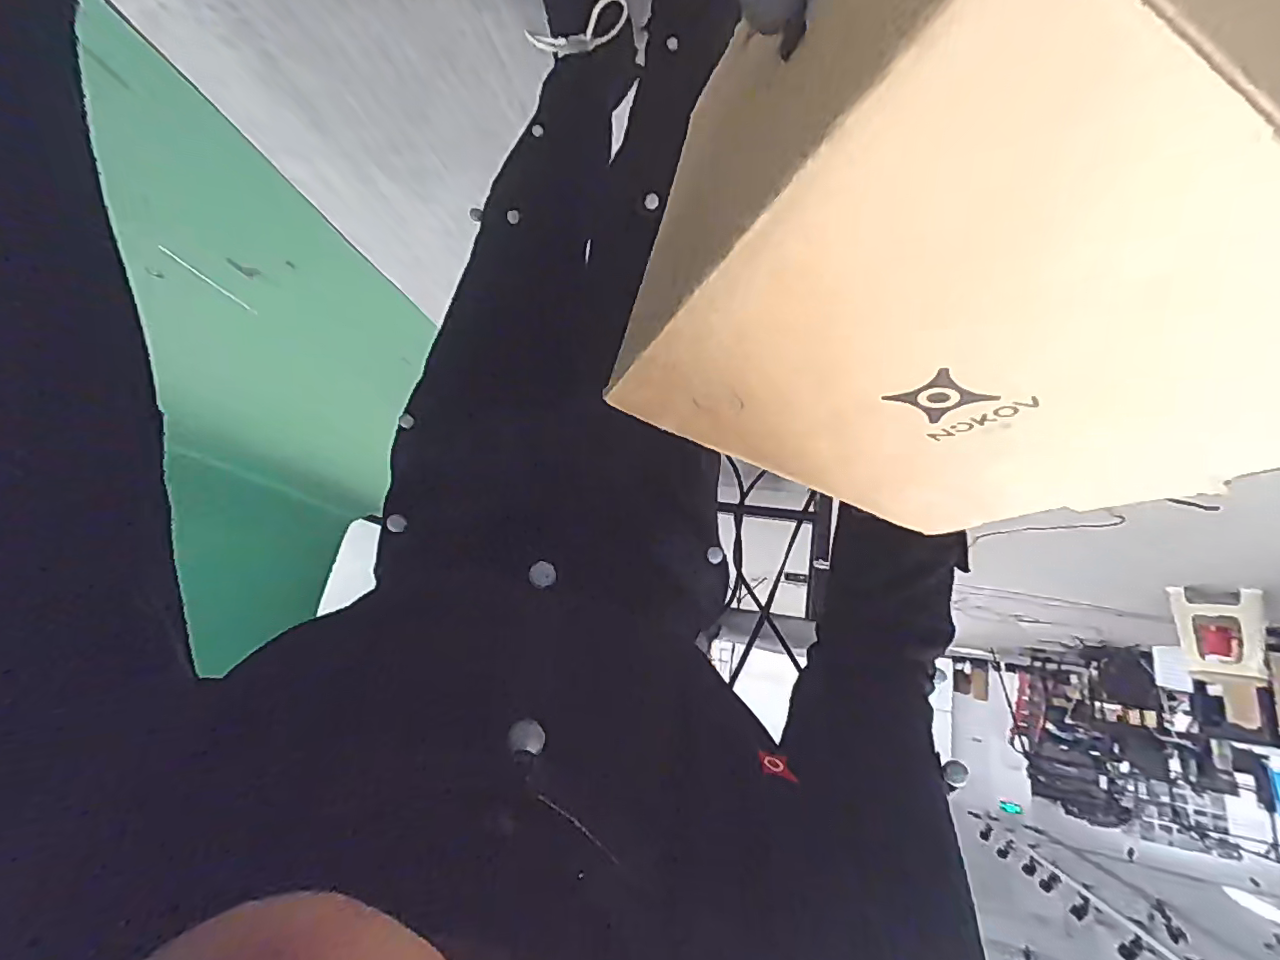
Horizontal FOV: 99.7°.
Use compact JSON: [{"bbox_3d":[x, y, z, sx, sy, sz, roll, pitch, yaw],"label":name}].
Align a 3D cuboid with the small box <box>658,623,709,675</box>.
[{"bbox_3d":[0.177,0.669,2.135,0.168,0.176,0.179,5,162,16],"label":"small box"}]
